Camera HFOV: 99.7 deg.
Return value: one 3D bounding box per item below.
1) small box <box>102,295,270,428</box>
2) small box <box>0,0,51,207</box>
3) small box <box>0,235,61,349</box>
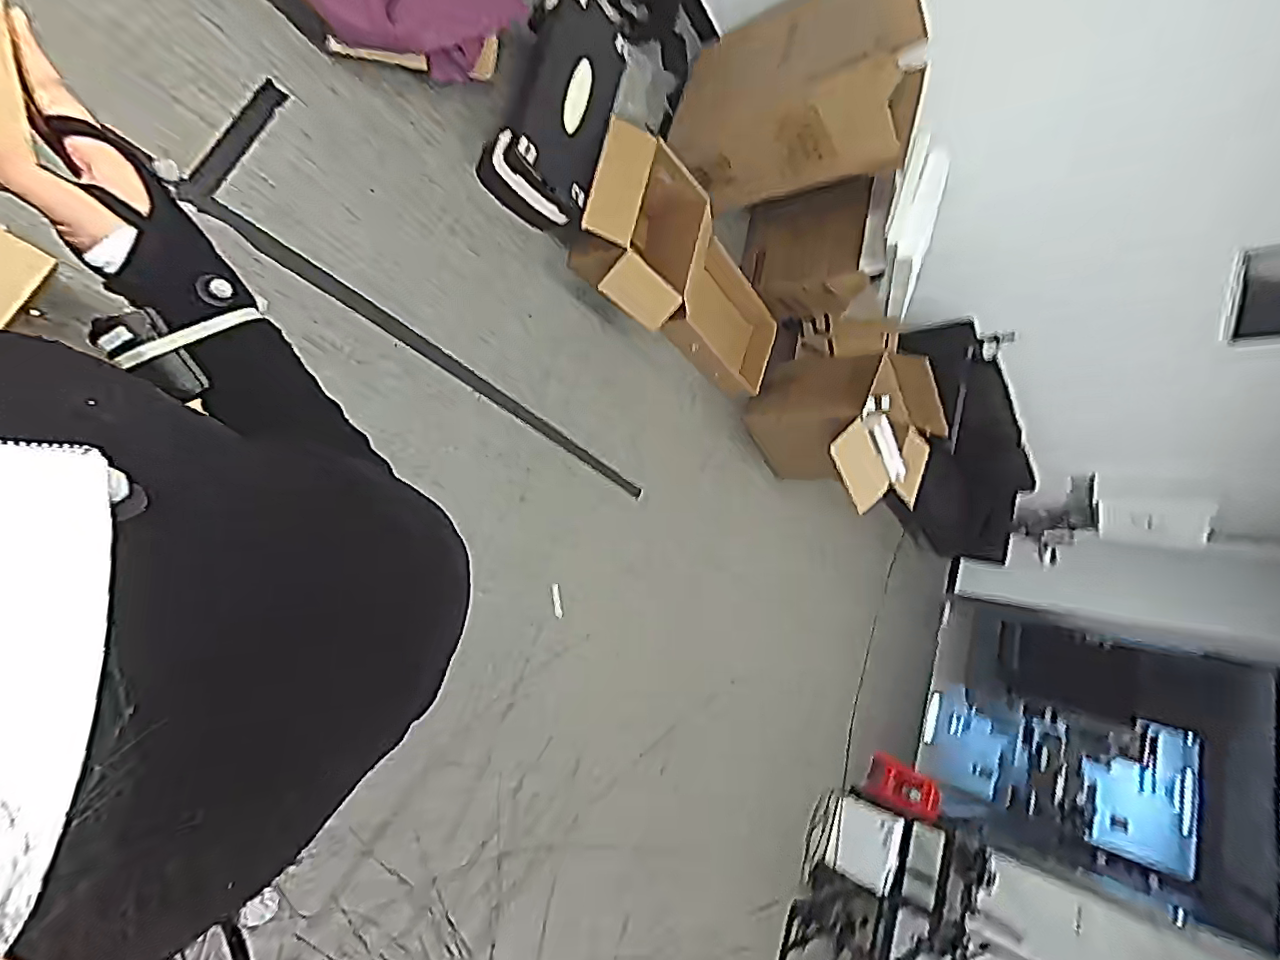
[{"bbox_3d":[-0.822,-0.202,0.978,0.179,0.176,0.168,33,70,-44],"label":"small box"},{"bbox_3d":[-0.457,-0.258,0.289,0.168,0.176,0.179,-14,117,-44],"label":"small box"},{"bbox_3d":[-1.118,-0.331,0.890,0.179,0.176,0.168,37,67,-42],"label":"small box"}]
